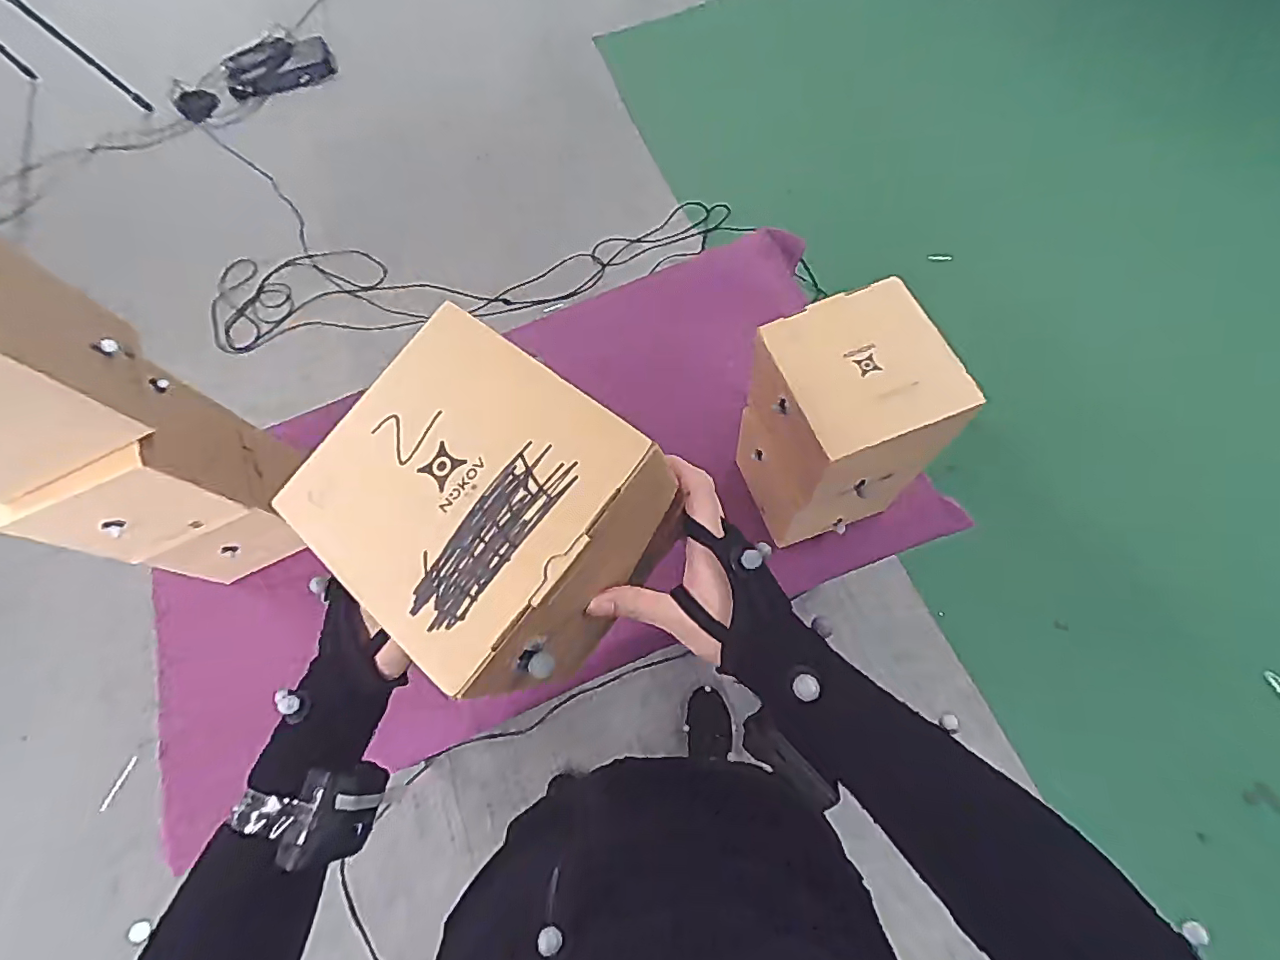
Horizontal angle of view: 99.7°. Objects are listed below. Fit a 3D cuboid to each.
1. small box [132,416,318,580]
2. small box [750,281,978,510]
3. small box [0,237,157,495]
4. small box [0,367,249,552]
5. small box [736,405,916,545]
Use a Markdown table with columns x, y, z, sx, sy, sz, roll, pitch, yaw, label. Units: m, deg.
| x | y | z | sx | sy | sz | roll | pitch | yaw | label |
| --- | --- | --- | --- | --- | --- | --- | --- | --- | --- |
| -0.635 | 0.035 | 0.840 | 0.179 | 0.176 | 0.168 | -26 | 69 | -5 | small box |
| 0.238 | -0.089 | 0.634 | 0.168 | 0.176 | 0.179 | -20 | 68 | -1 | small box |
| -0.654 | -0.109 | 0.547 | 0.179 | 0.176 | 0.168 | -28 | 69 | -7 | small box |
| -0.641 | -0.022 | 0.688 | 0.168 | 0.176 | 0.179 | -25 | 68 | -5 | small box |
| 0.252 | -0.024 | 0.783 | 0.179 | 0.176 | 0.168 | -19 | 67 | -2 | small box |
